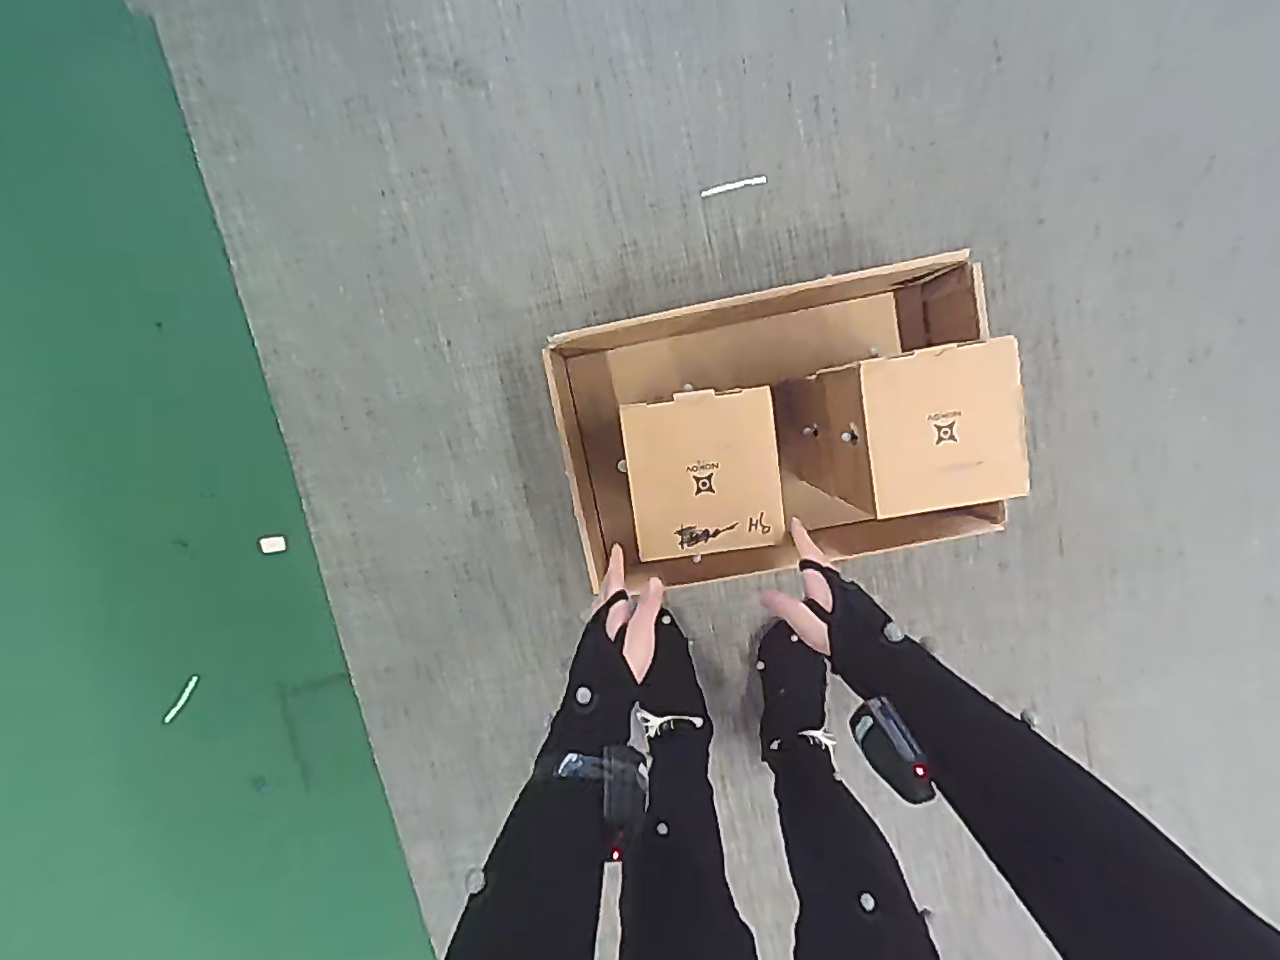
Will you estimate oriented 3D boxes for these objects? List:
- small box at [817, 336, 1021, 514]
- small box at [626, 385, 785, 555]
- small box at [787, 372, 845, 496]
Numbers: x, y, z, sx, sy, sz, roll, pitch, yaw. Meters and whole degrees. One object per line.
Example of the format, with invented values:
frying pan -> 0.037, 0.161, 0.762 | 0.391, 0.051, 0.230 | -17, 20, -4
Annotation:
small box -> 0.330, -0.068, 0.671 | 0.168, 0.176, 0.179 | -9, 98, 4
small box -> 0.073, -0.018, 0.678 | 0.168, 0.176, 0.179 | -7, 97, 2
small box -> 0.337, -0.087, 0.833 | 0.168, 0.176, 0.179 | -12, 97, 3
